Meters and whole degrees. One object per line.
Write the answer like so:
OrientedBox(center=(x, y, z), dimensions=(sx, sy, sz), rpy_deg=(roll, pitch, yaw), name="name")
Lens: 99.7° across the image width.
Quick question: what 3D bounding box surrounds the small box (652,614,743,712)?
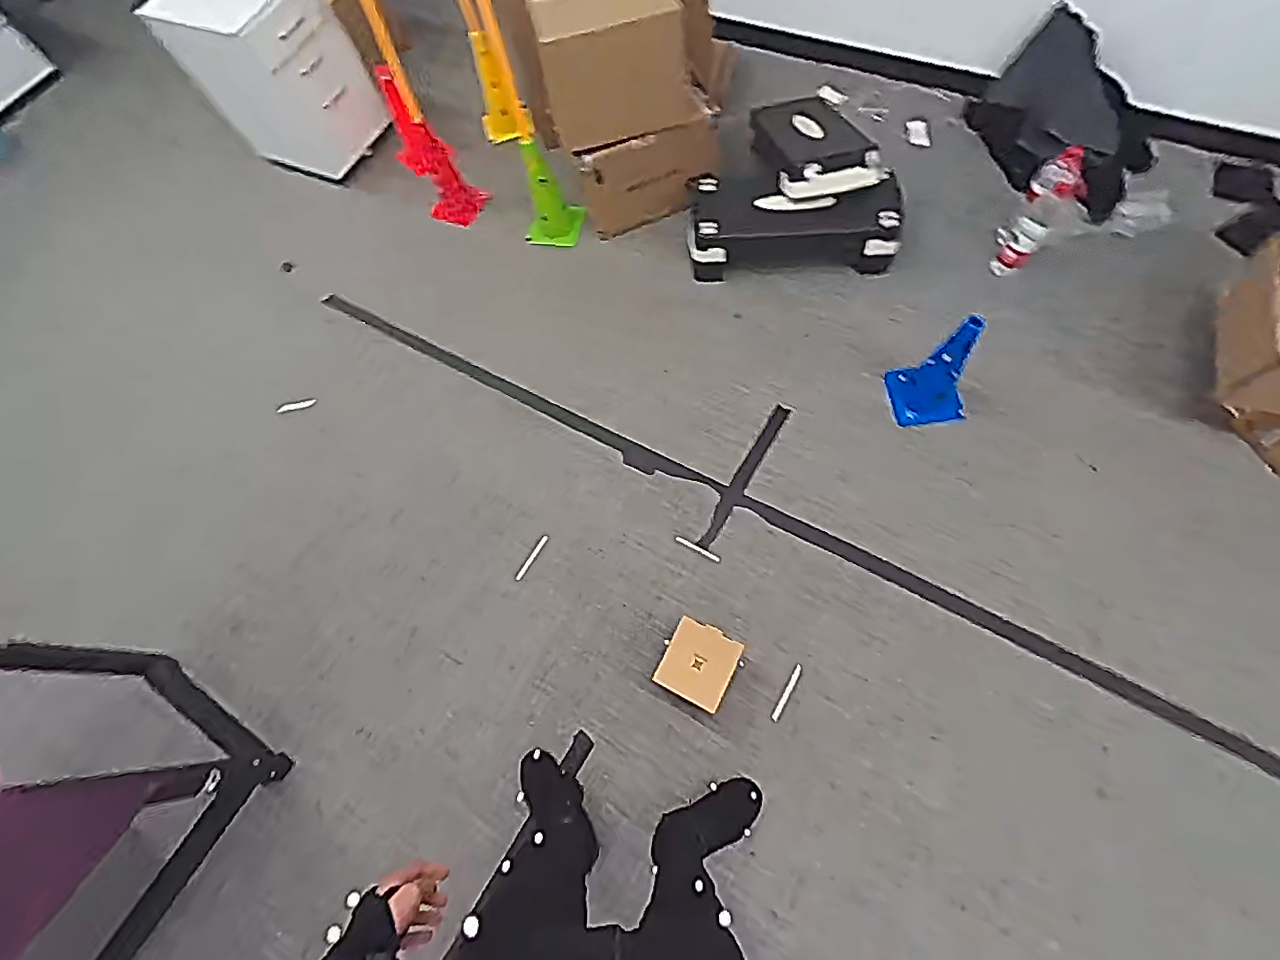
OrientedBox(center=(0.149, 0.464, 1.368), dimensions=(0.168, 0.176, 0.179), rpy_deg=(25, 73, 16), name="small box")
